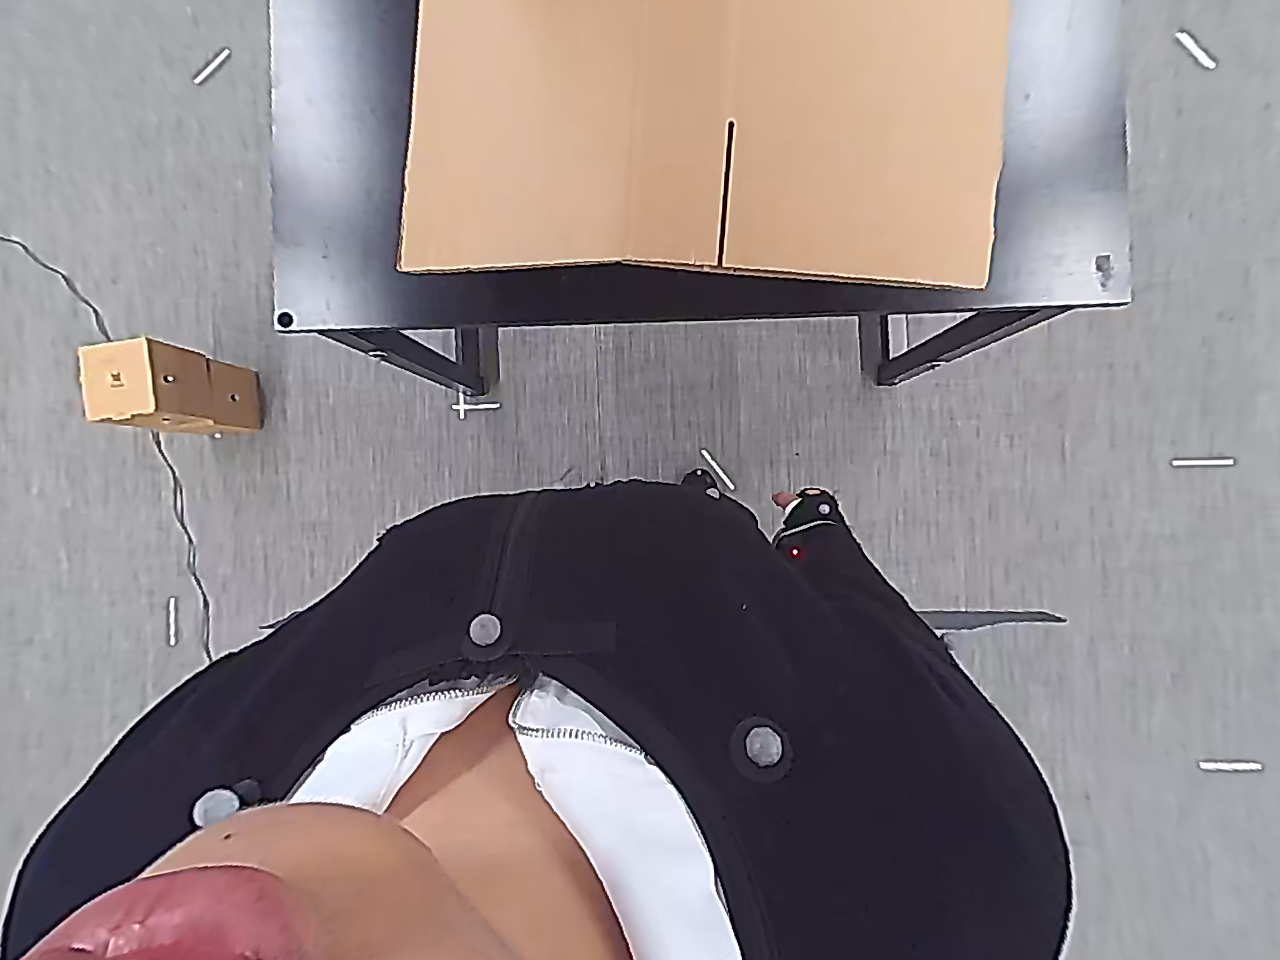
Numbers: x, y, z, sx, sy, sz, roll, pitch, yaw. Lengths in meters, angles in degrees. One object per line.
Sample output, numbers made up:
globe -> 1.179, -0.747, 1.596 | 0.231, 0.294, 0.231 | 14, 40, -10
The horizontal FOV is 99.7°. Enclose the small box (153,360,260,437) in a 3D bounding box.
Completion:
small box -> -1.177, -0.215, 1.471 | 0.168, 0.176, 0.179 | -5, 90, 3

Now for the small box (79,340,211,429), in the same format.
small box -> -1.186, -0.223, 1.309 | 0.168, 0.176, 0.179 | -8, 88, 2
